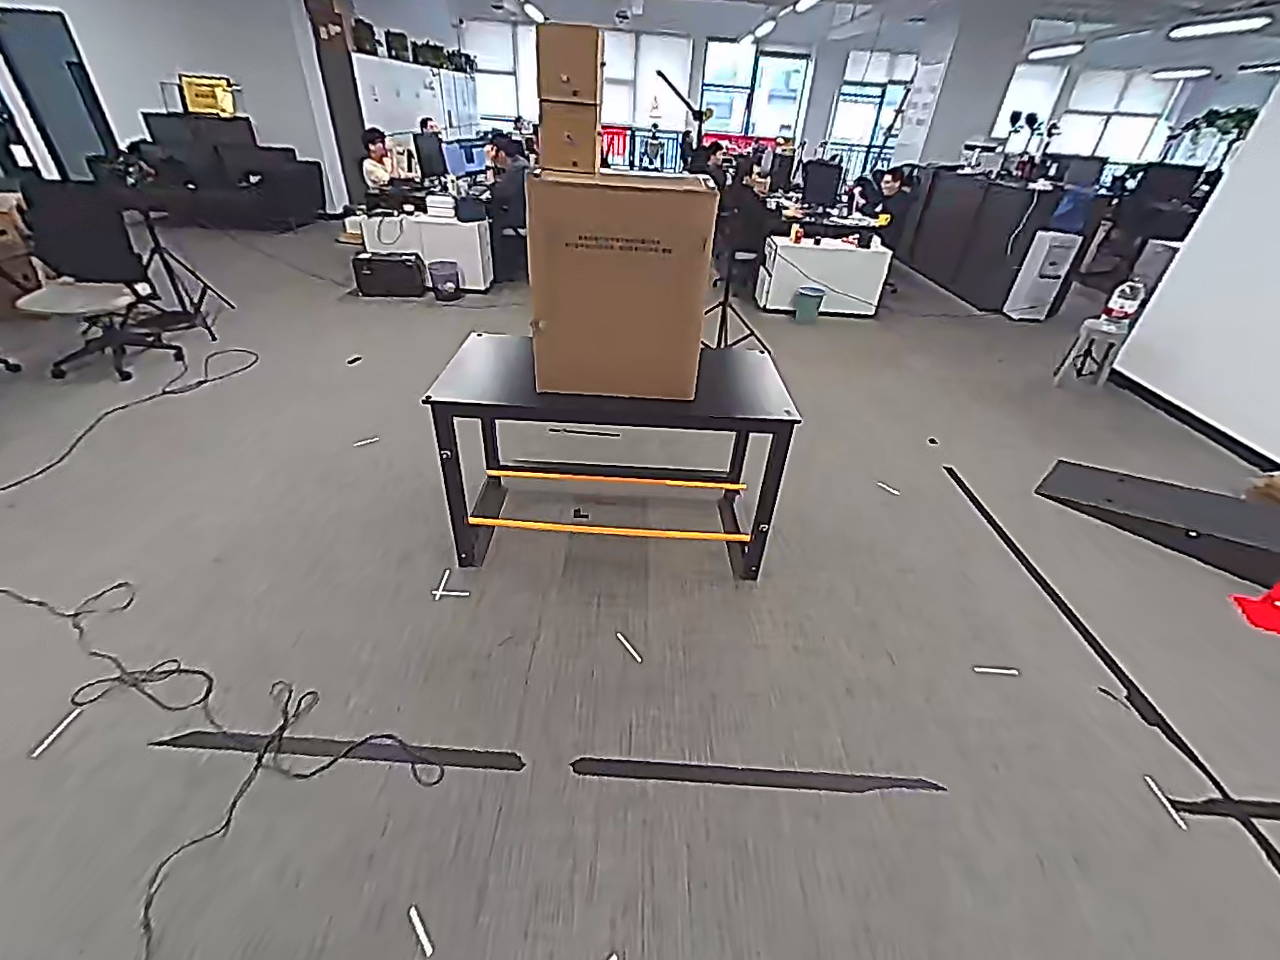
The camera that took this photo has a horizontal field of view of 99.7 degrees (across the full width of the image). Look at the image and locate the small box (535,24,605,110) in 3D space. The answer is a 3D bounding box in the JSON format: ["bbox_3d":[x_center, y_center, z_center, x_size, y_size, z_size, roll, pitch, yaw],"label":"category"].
[{"bbox_3d":[-0.190,-1.127,1.486,0.168,0.176,0.179,4,34,-1],"label":"small box"}]

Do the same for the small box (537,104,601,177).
[{"bbox_3d":[-0.204,-1.000,1.592,0.168,0.176,0.179,4,34,-2],"label":"small box"}]
